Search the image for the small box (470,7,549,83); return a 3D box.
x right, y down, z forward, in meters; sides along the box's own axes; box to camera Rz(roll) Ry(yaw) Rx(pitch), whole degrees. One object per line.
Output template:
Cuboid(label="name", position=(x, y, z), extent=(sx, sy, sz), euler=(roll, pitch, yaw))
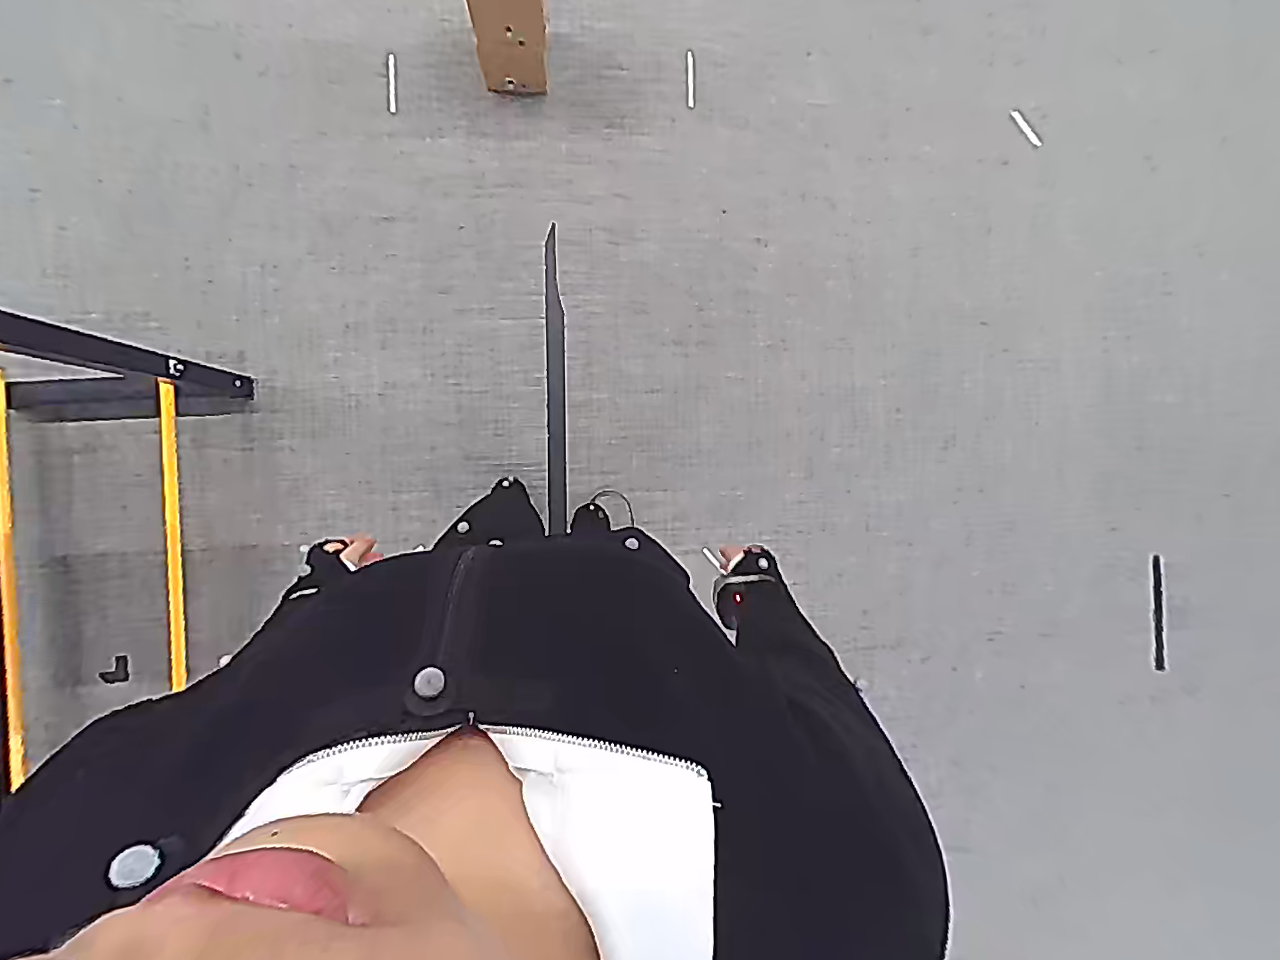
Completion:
Cuboid(label="small box", position=(-0.307, -1.096, 1.289), extent=(0.168, 0.176, 0.179), euler=(-2, 93, -5))

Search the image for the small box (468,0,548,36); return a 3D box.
Cuboid(label="small box", position=(-0.282, -1.084, 1.126), extent=(0.168, 0.176, 0.179), euler=(-1, 91, -5))
